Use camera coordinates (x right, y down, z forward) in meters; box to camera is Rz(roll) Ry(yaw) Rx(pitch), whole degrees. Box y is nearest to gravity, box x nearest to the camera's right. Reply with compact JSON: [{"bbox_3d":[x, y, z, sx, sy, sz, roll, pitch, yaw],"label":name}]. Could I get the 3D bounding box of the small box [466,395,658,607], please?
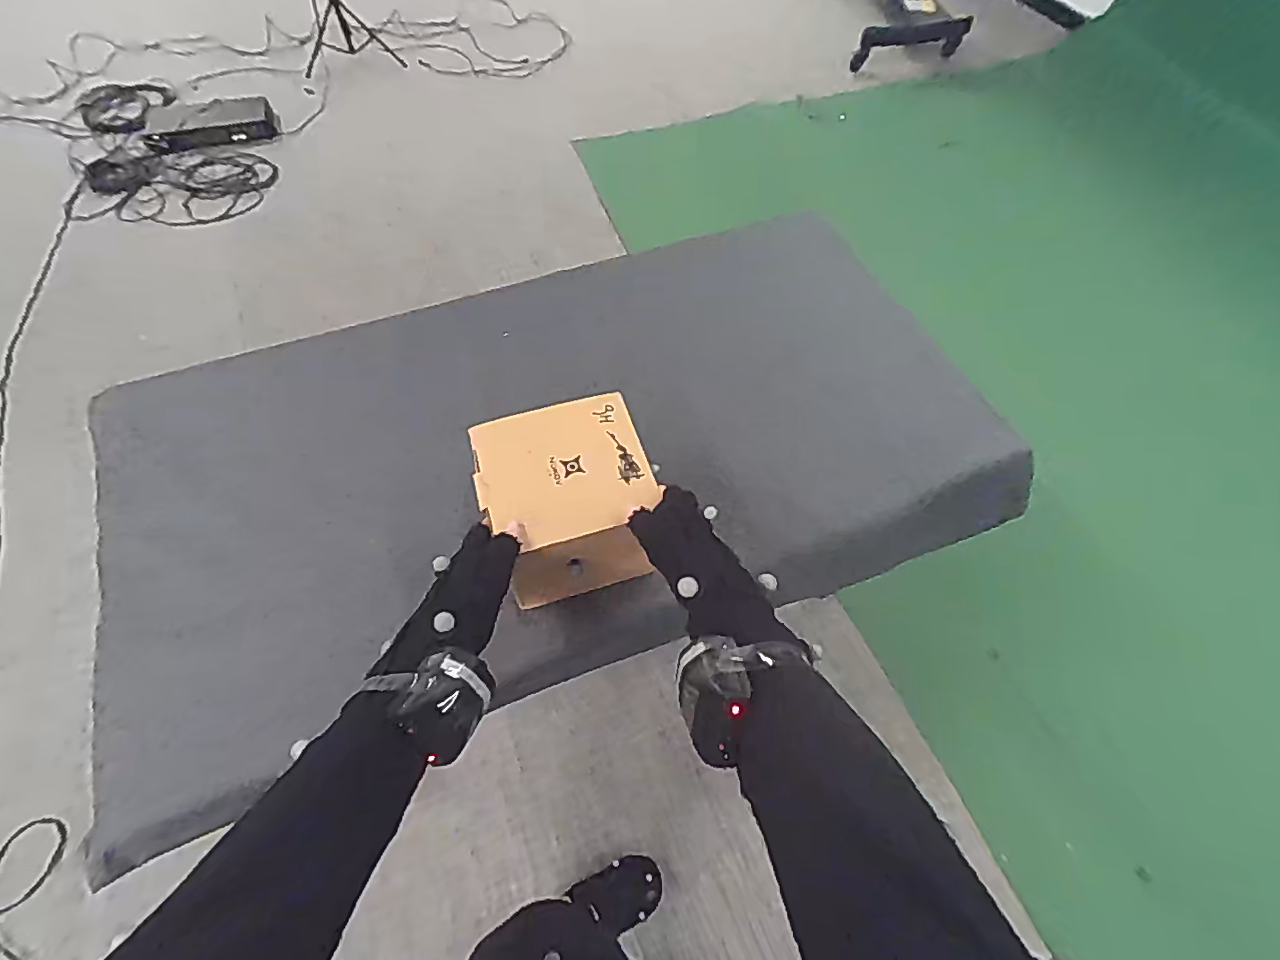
[{"bbox_3d":[-0.085,0.032,0.633,0.179,0.176,0.168,-15,62,-9],"label":"small box"}]
